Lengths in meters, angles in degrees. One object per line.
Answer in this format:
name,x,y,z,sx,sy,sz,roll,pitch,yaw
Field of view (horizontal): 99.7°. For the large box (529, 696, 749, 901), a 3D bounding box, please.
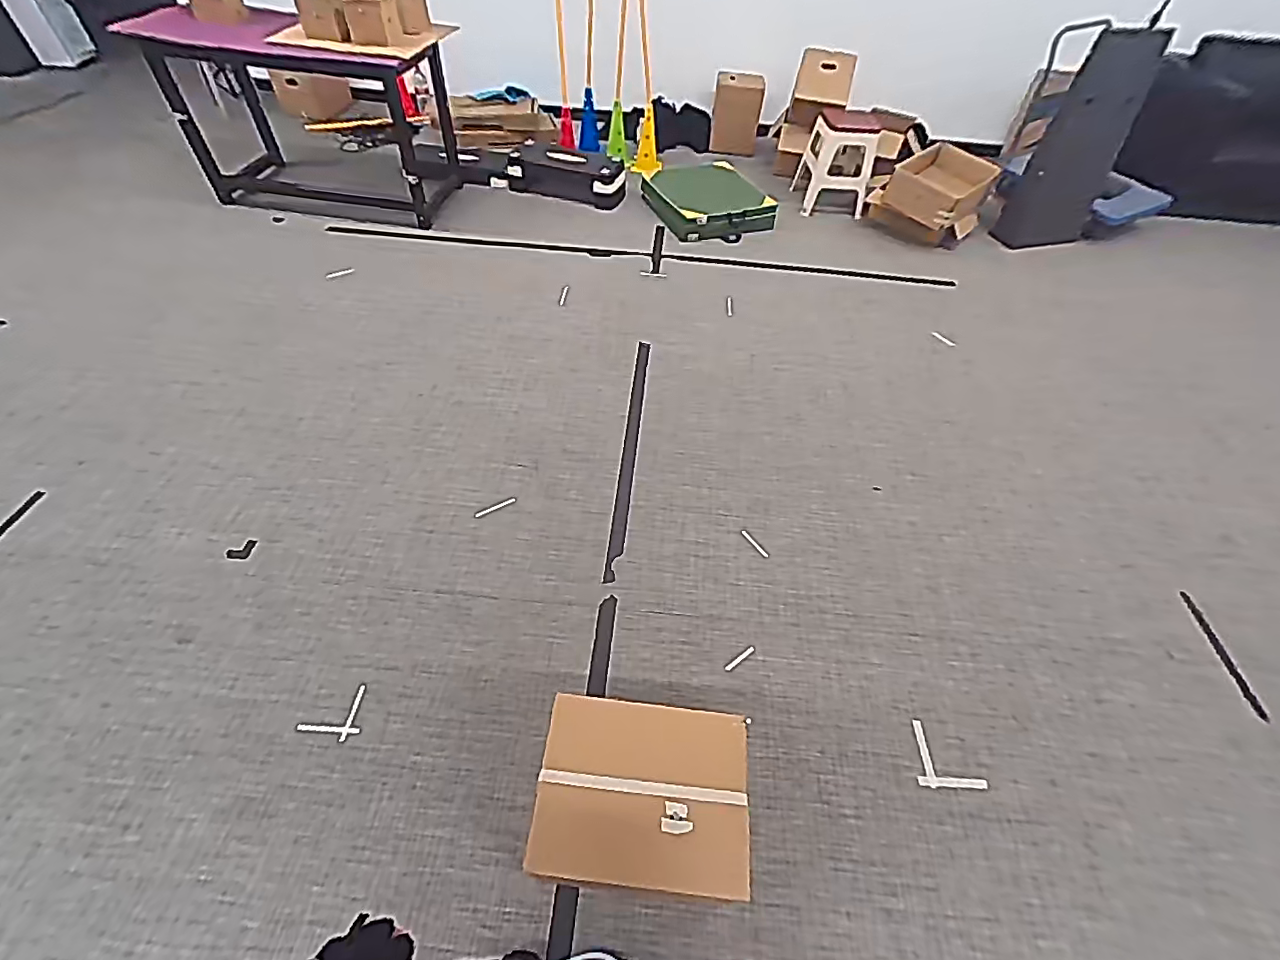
large box,-0.002,0.693,1.169,0.408,0.320,0.320,7,52,1
